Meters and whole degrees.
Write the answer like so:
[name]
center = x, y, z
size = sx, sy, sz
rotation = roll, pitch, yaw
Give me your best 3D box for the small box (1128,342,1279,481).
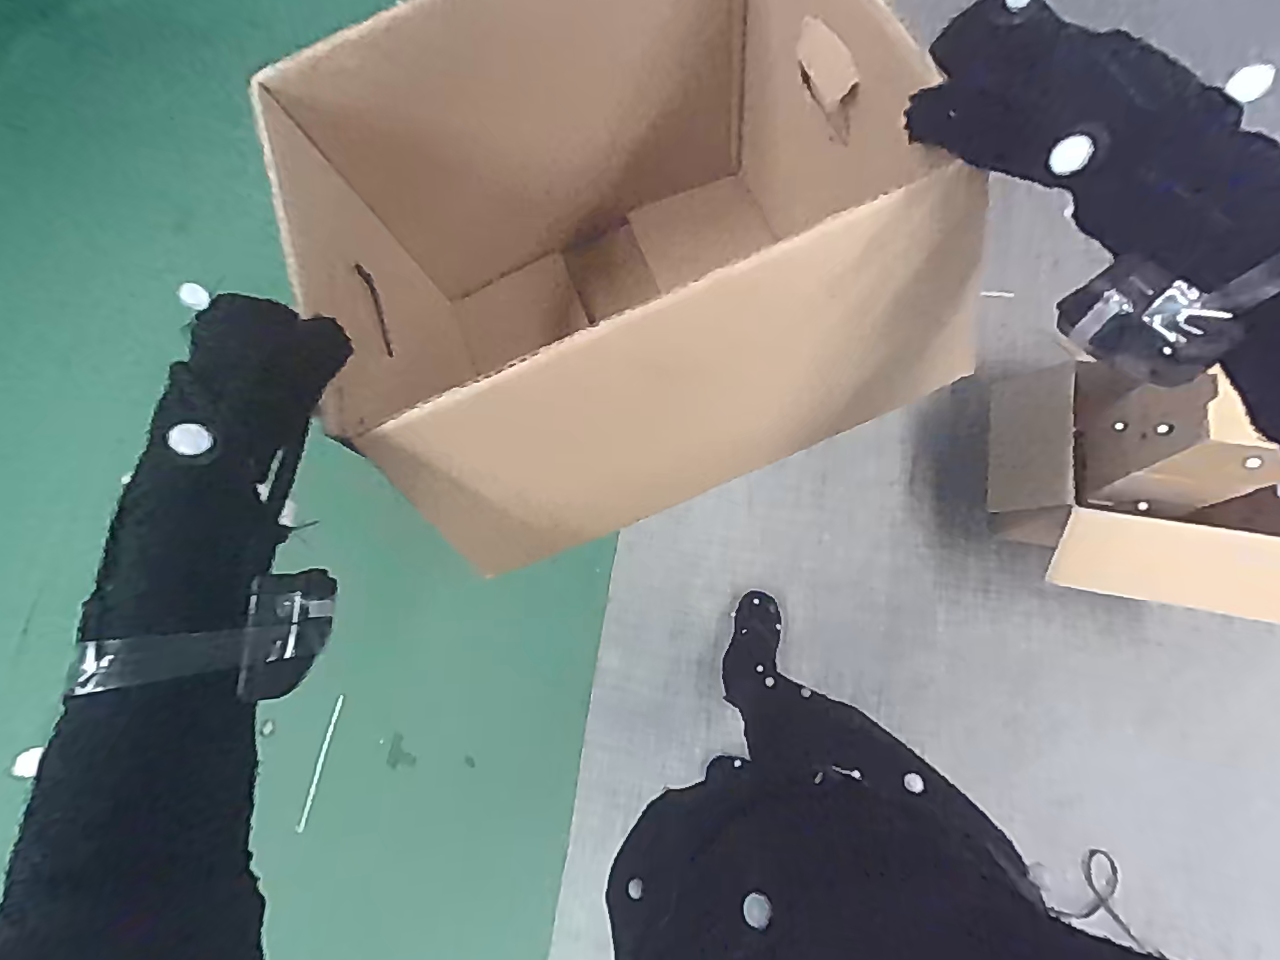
[small box]
center = 0.946, -0.104, 0.881
size = 0.179, 0.176, 0.168
rotation = 9, 77, 13
